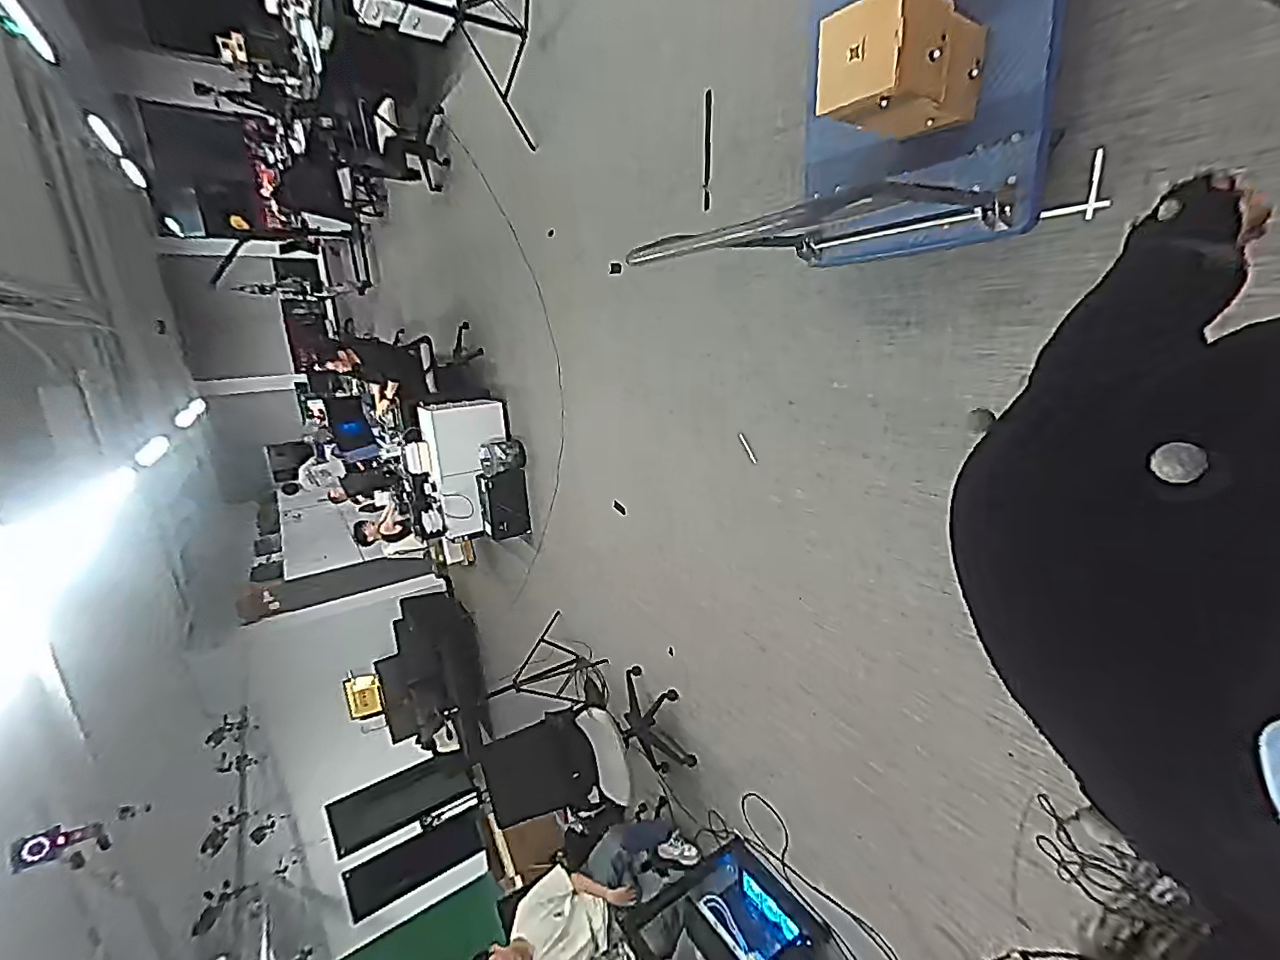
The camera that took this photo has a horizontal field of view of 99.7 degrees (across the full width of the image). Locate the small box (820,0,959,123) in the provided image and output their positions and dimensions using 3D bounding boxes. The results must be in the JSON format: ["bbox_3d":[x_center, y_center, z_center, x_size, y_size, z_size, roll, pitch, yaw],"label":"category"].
[{"bbox_3d":[0.476,-0.814,1.042,0.179,0.176,0.168,20,117,52],"label":"small box"}]
